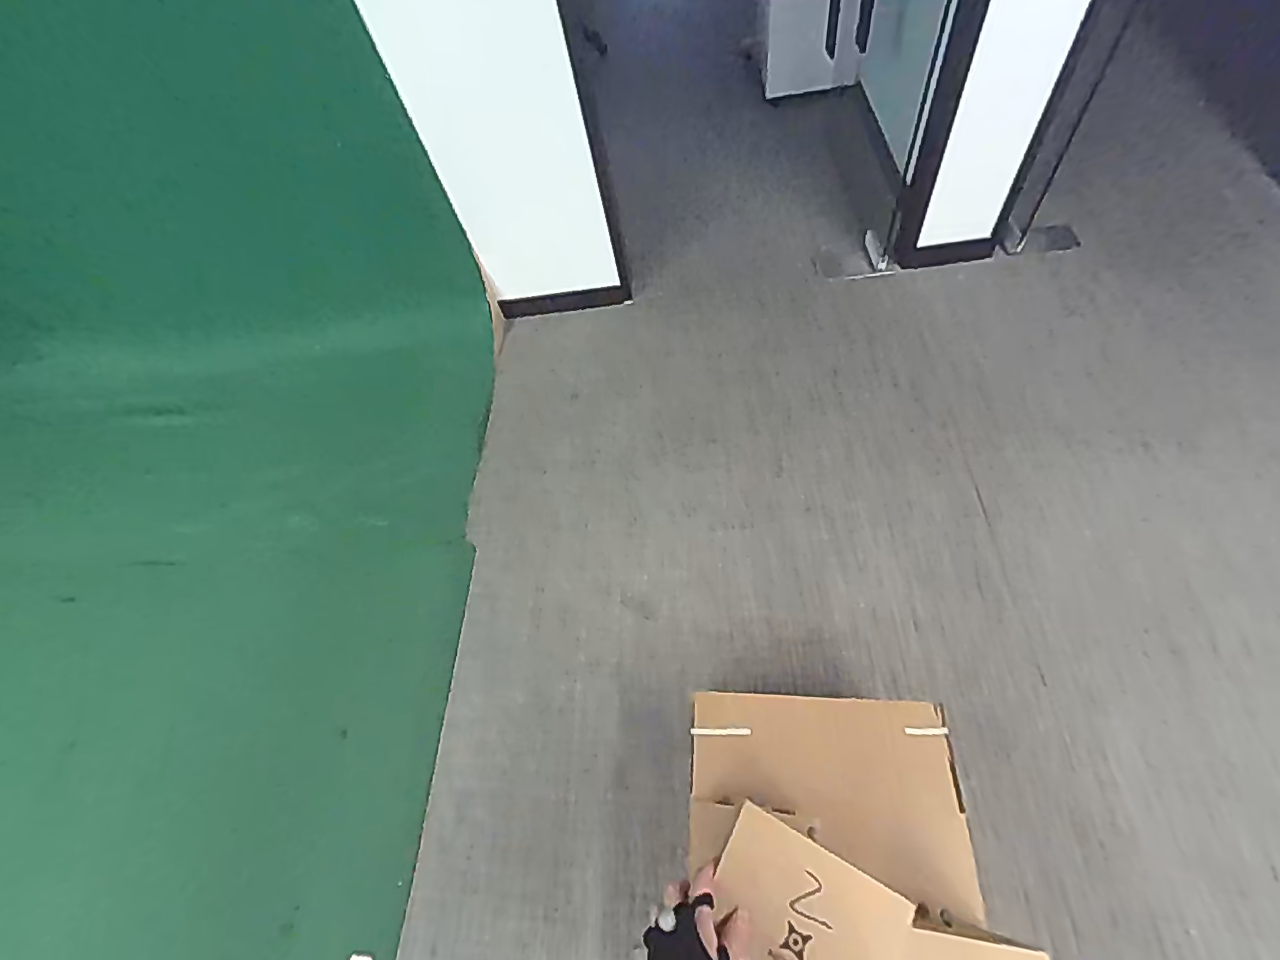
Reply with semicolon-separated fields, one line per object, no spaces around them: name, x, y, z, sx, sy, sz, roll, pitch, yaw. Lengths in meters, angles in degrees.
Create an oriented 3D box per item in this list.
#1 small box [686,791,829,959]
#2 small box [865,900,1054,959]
small box;0.157;0.536;0.727;0.168;0.176;0.179;1;57;13
small box;0.369;0.621;0.631;0.168;0.176;0.179;3;57;11
